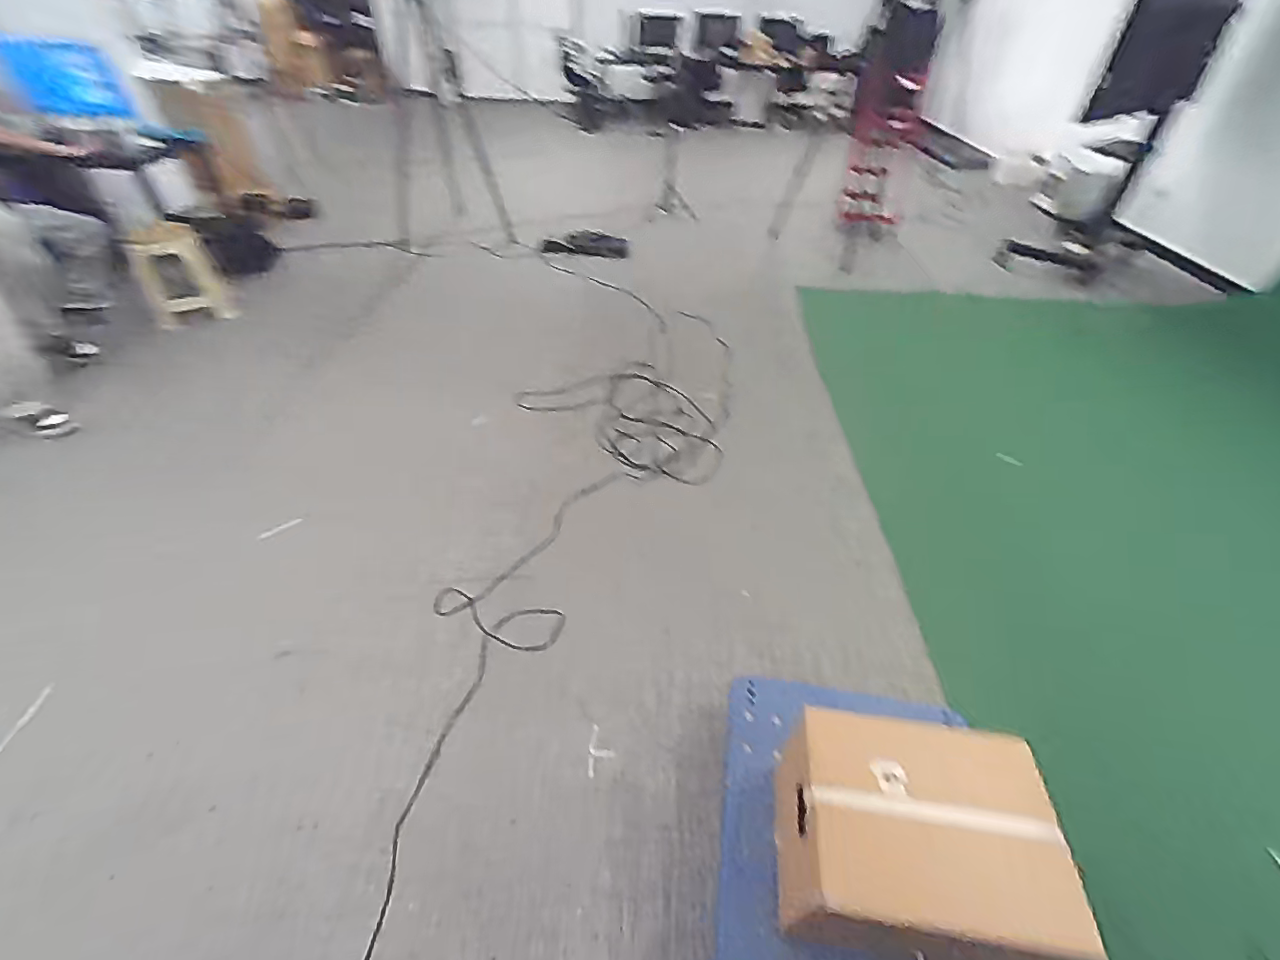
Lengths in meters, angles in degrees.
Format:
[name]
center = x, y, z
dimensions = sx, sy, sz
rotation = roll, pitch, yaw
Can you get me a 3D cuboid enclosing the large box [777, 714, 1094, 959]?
[large box]
center = 0.489, 0.679, 1.012
dimensions = 0.408, 0.320, 0.320
rotation = 6, 43, 6
